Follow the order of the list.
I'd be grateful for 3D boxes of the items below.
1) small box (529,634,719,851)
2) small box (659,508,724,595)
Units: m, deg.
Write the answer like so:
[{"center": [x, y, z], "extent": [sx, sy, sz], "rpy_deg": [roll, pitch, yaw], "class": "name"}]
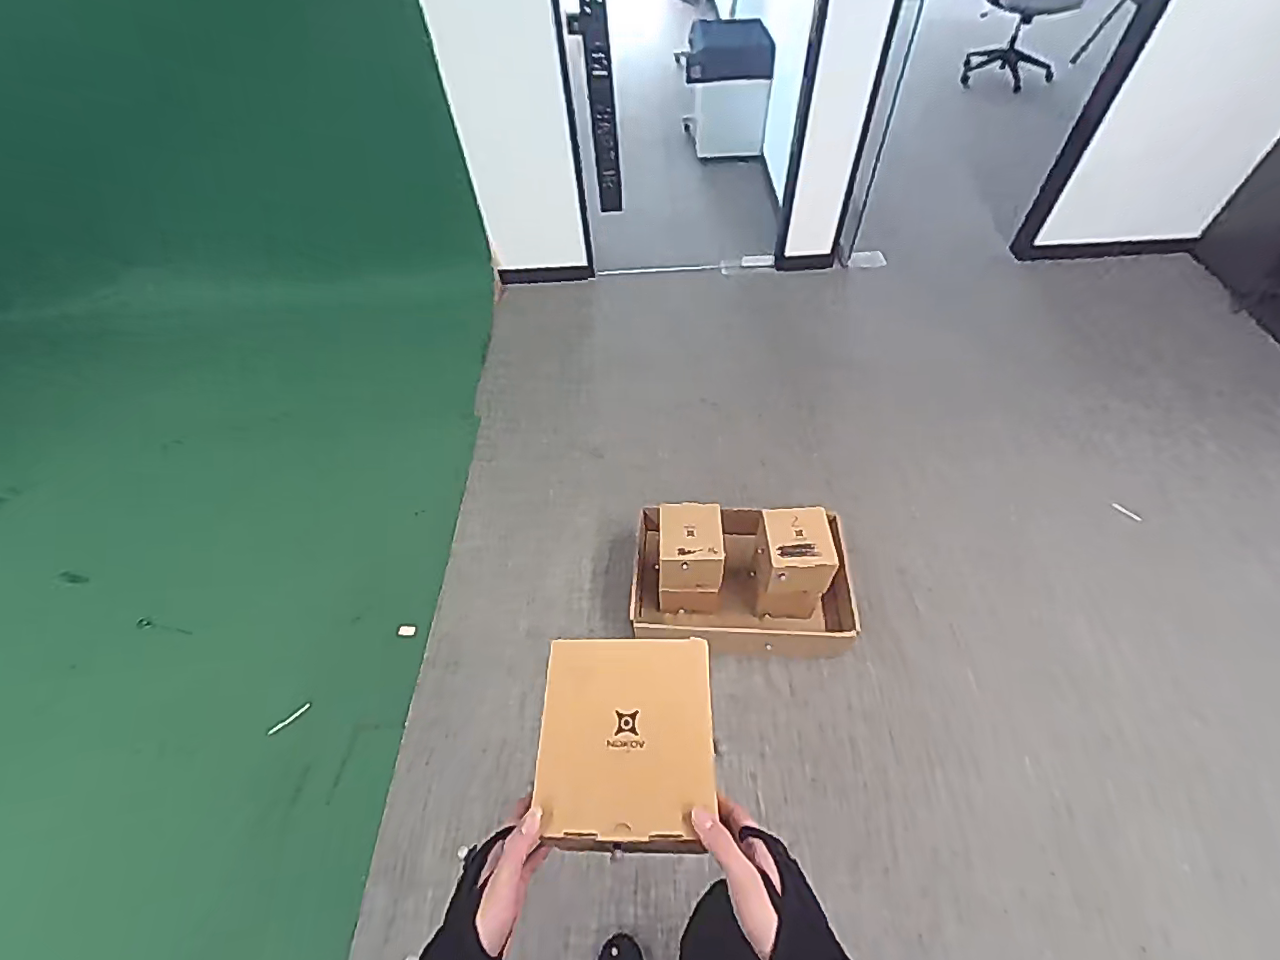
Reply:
[{"center": [-0.009, 0.279, 0.573], "extent": [0.168, 0.176, 0.179], "rpy_deg": [0, 53, 3], "class": "small box"}, {"center": [0.137, 0.193, 1.471], "extent": [0.168, 0.176, 0.179], "rpy_deg": [-1, 51, 4], "class": "small box"}]
